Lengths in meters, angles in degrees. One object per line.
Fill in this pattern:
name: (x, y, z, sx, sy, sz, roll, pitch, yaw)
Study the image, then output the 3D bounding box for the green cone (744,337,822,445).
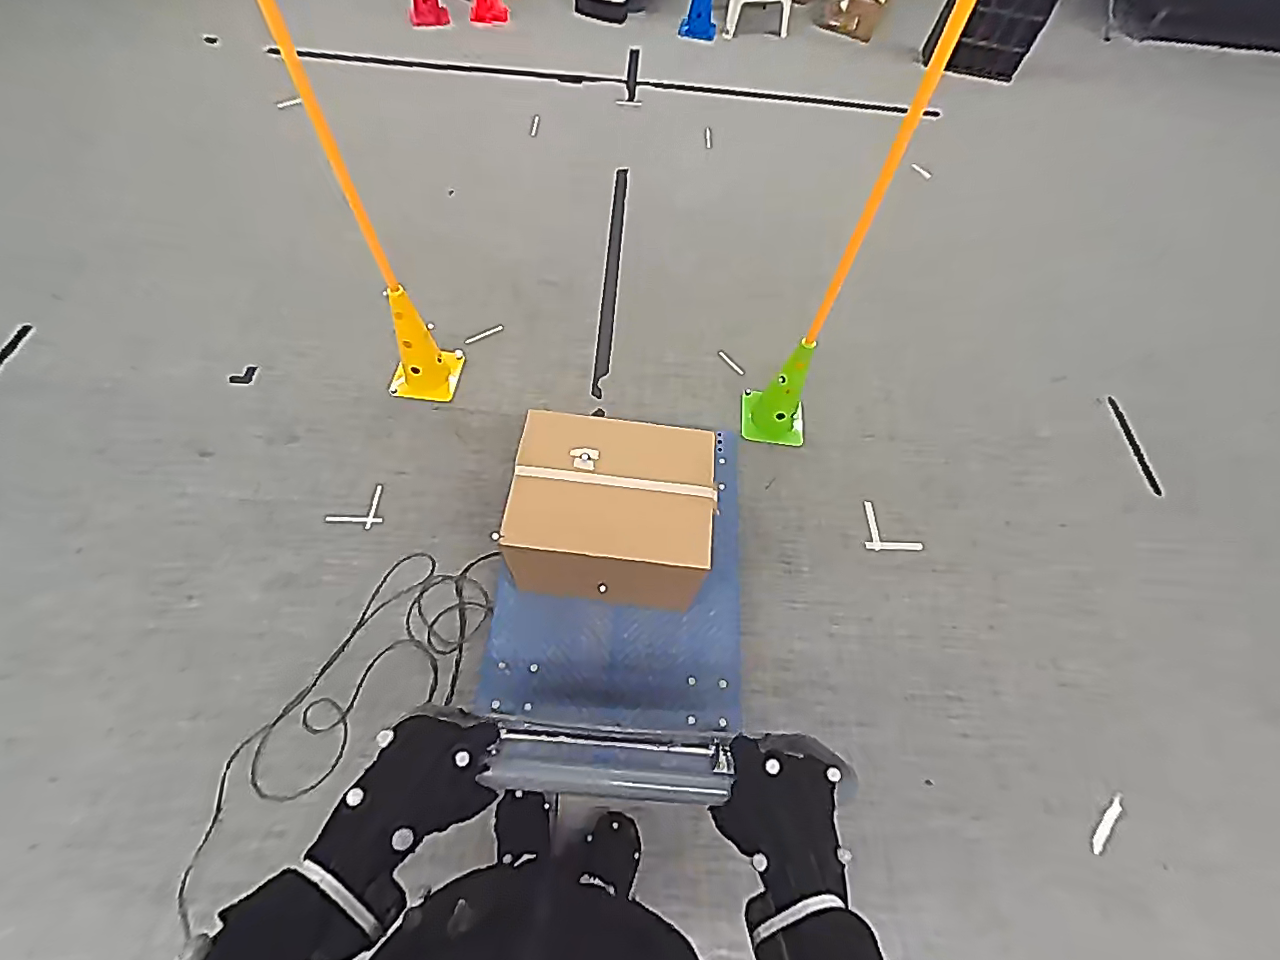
green cone: (0.458, -0.289, 1.635, 0.202, 0.368, 0.200, 8, 61, -2)

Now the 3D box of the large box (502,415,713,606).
large box: (-0.058, 0.083, 1.224, 0.408, 0.320, 0.320, 7, 61, 0)
